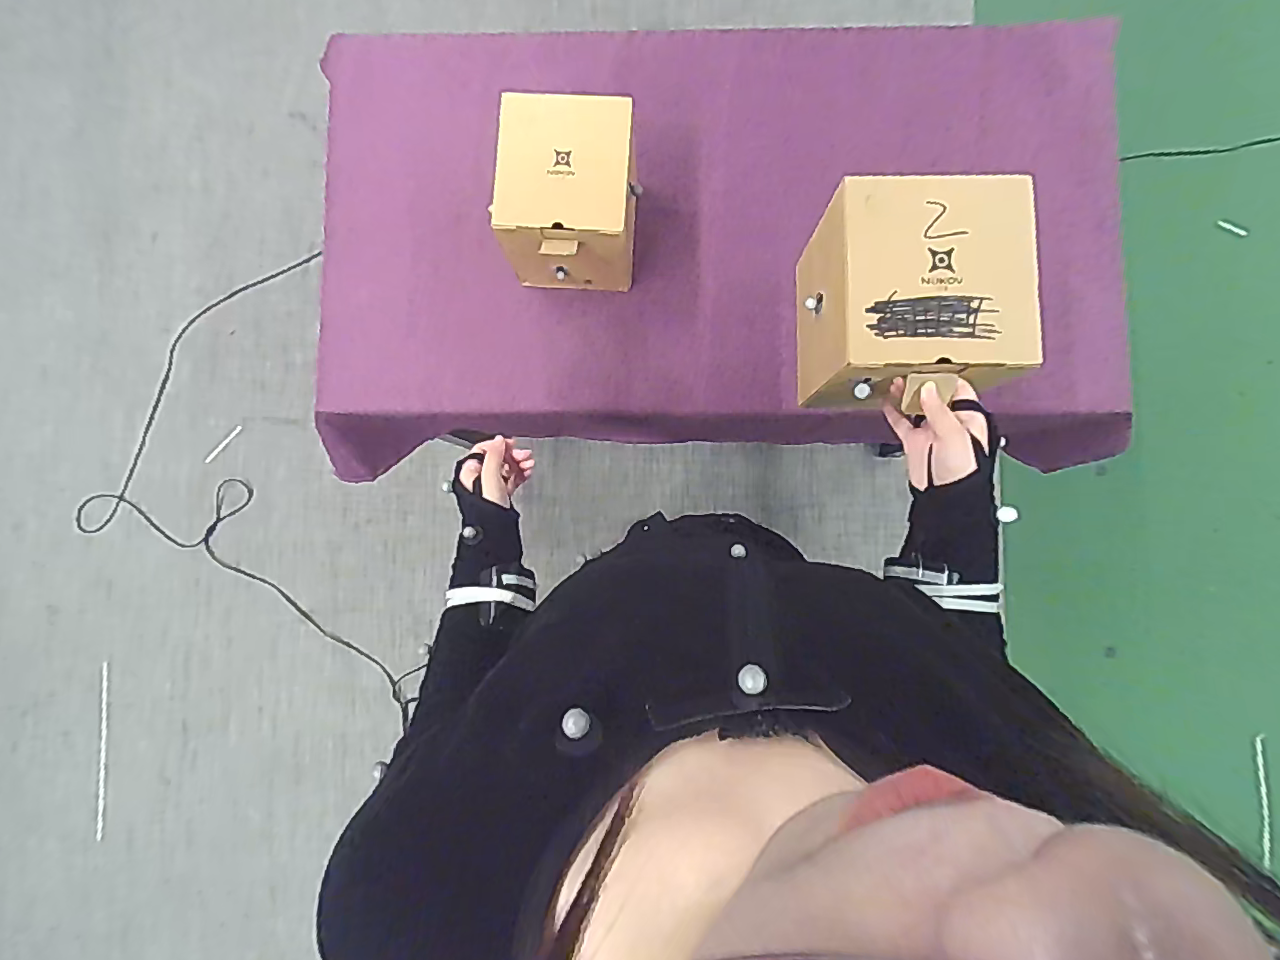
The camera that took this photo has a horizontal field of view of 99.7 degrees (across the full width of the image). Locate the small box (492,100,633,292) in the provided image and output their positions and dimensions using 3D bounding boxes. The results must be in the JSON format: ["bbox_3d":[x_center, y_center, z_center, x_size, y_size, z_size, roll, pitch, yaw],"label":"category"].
[{"bbox_3d":[-0.098,-0.387,0.761,0.168,0.176,0.179,3,87,1],"label":"small box"}]
